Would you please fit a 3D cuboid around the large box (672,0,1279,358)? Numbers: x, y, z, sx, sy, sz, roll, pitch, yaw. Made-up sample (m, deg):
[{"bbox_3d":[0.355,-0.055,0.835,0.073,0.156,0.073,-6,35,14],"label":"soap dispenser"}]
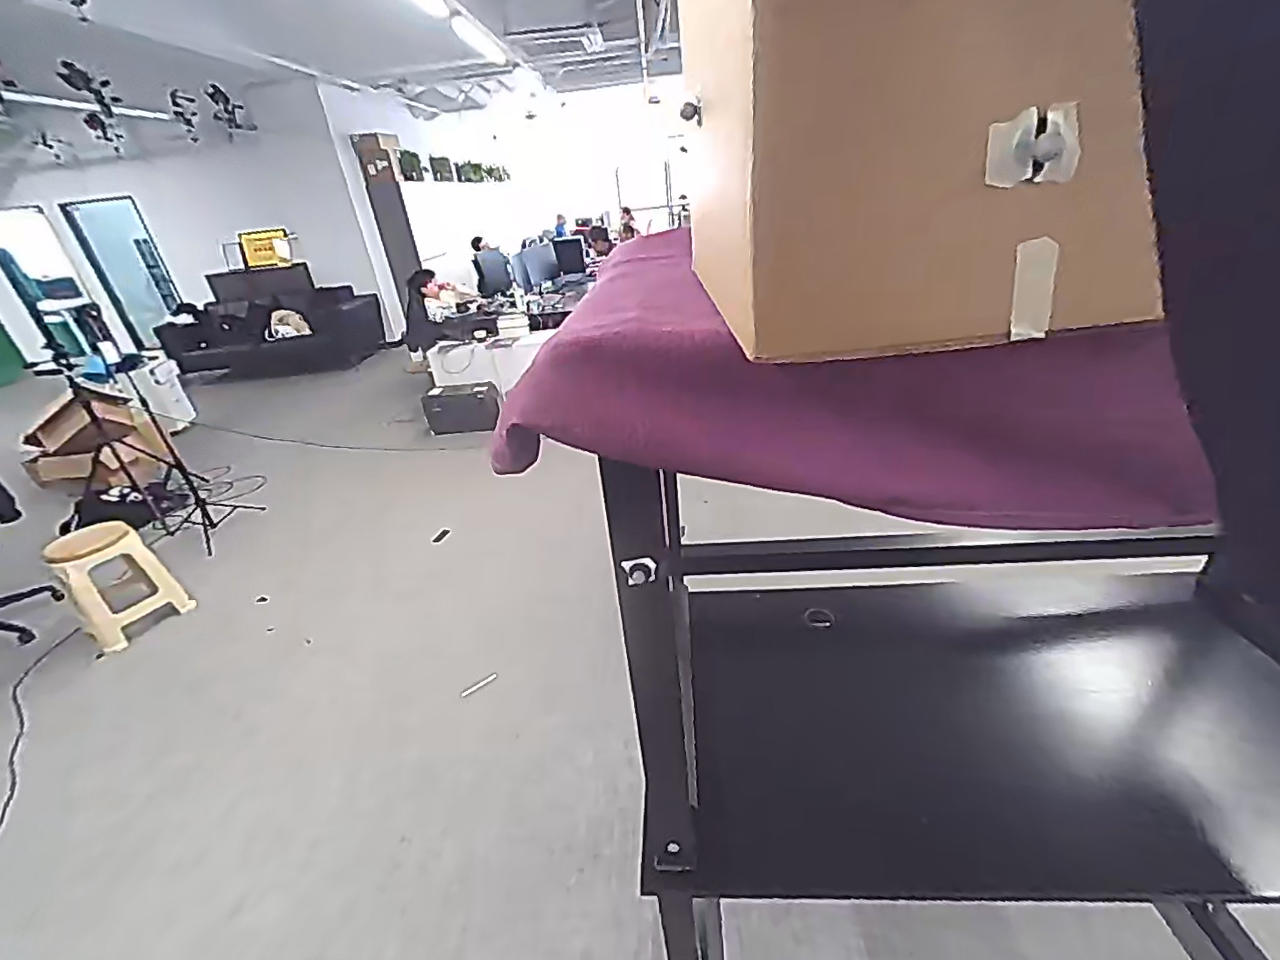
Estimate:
[{"bbox_3d":[0.199,-0.302,0.403,0.320,0.320,0.408,-5,27,2],"label":"large box"}]
